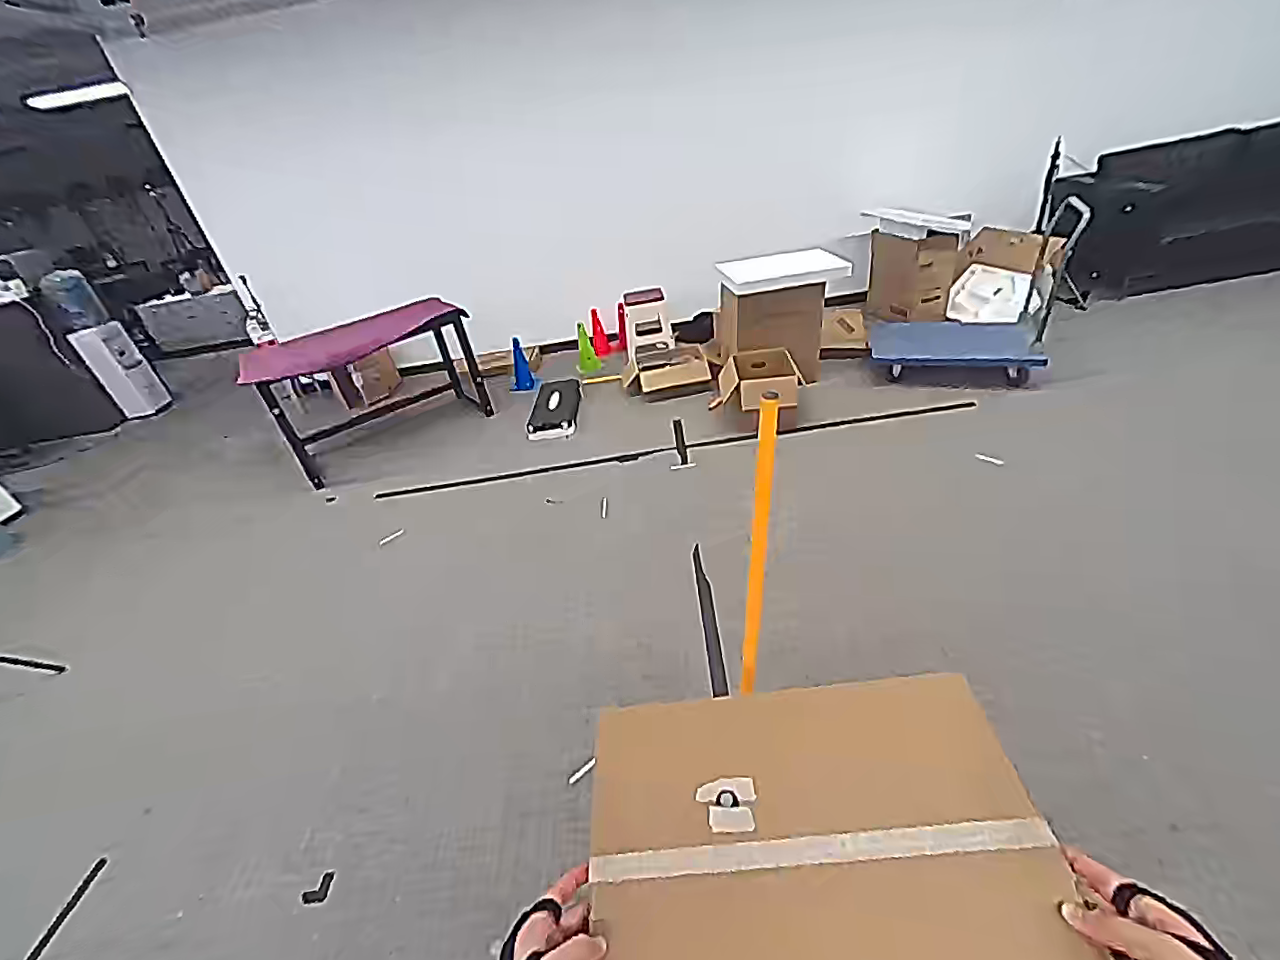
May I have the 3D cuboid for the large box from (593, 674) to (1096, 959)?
[{"bbox_3d":[0.181,0.456,0.591,0.408,0.320,0.320,-9,38,6],"label":"large box"}]
